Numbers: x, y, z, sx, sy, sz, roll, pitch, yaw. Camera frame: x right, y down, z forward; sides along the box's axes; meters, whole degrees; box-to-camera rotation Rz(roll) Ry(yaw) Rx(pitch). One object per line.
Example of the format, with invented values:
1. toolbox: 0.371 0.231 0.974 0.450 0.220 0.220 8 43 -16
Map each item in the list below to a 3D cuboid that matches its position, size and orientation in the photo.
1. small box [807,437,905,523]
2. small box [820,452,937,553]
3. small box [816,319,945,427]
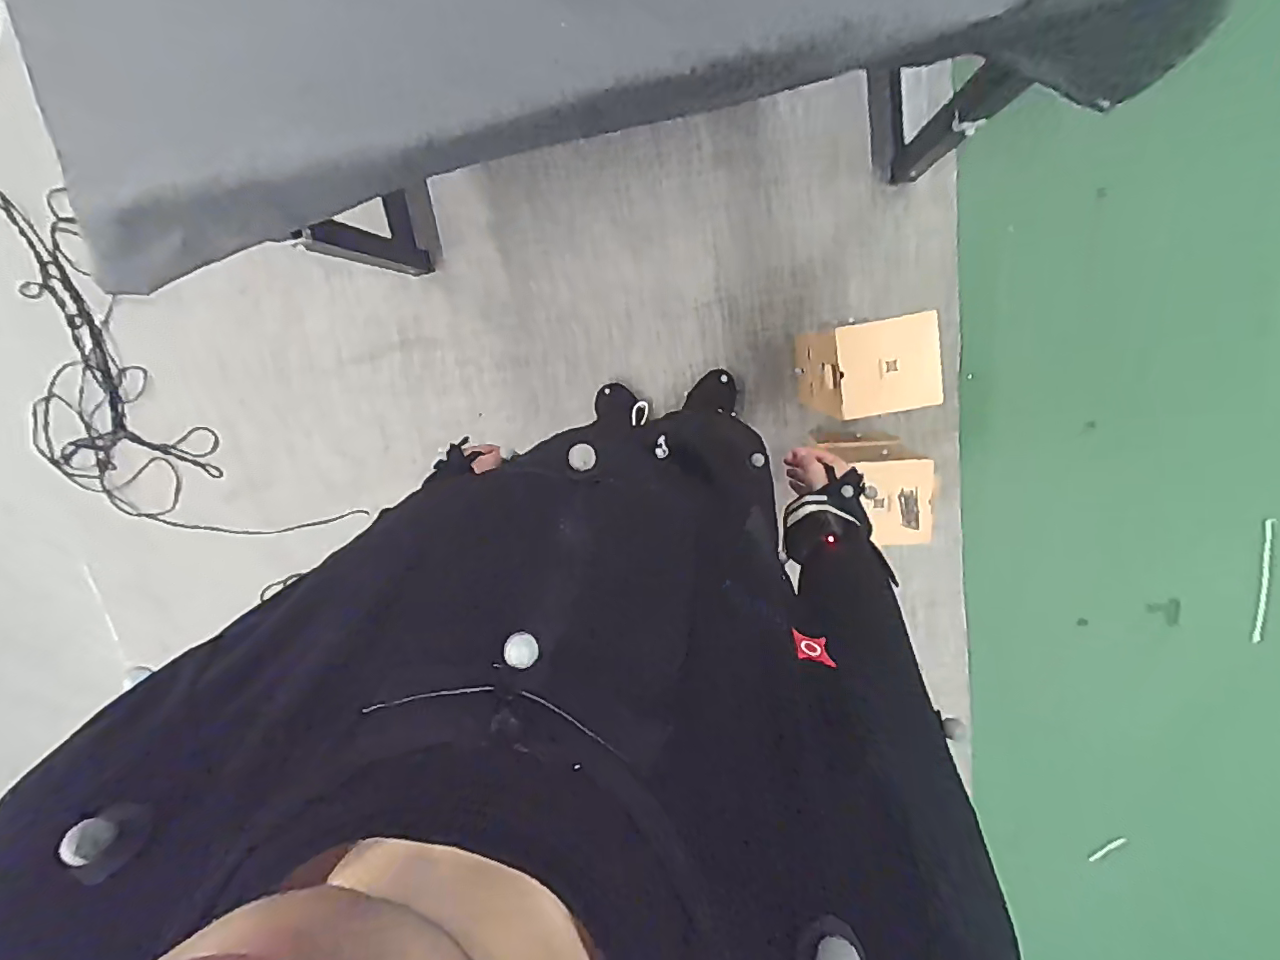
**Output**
1. small box: 0.489 -0.004 1.240 0.179 0.176 0.168 -3 101 9
2. small box: 0.468 0.039 1.082 0.179 0.176 0.168 -3 101 9
3. small box: 0.449 -0.206 1.029 0.179 0.176 0.168 -10 101 9
